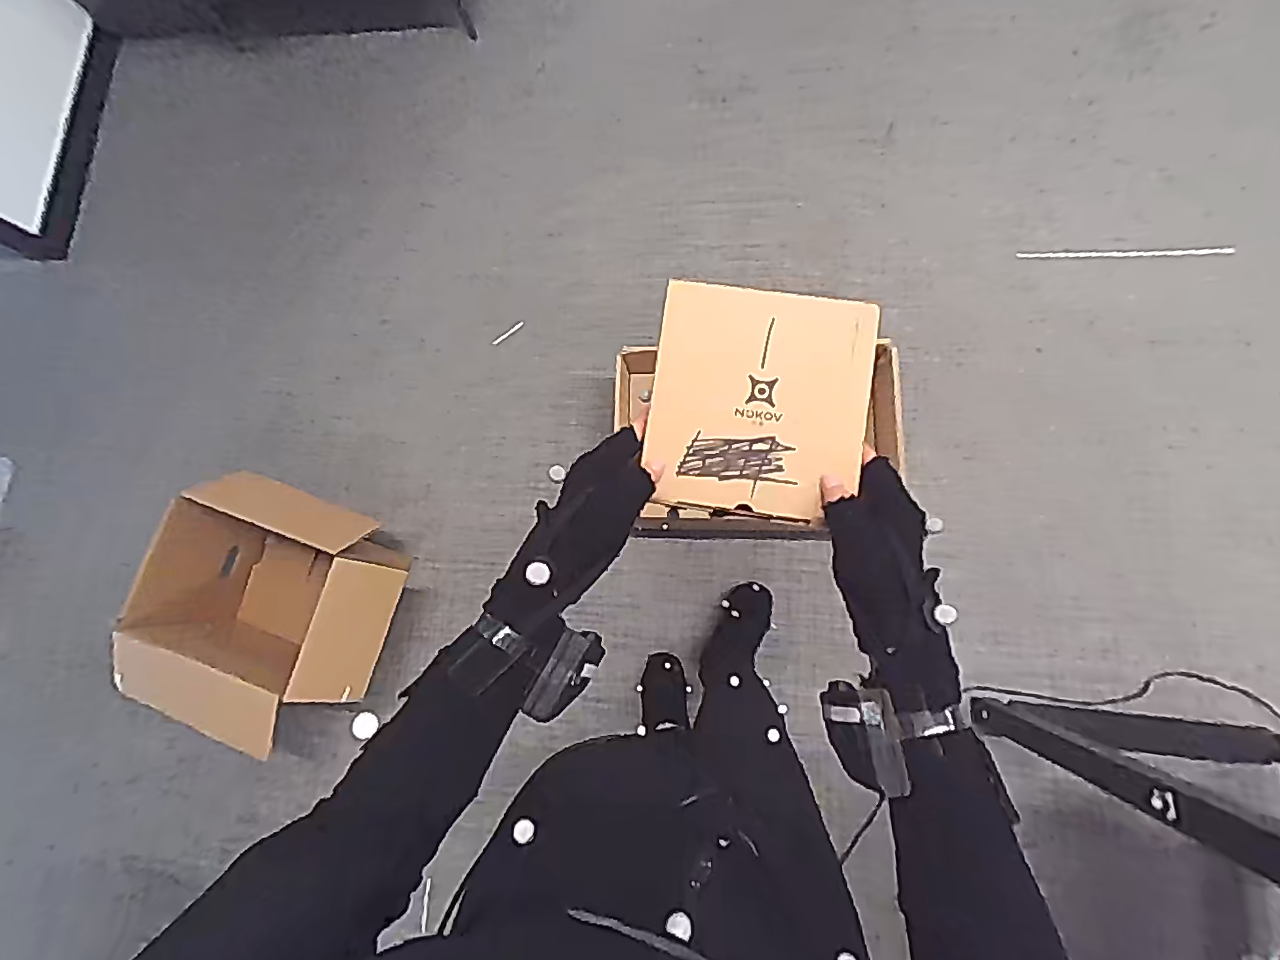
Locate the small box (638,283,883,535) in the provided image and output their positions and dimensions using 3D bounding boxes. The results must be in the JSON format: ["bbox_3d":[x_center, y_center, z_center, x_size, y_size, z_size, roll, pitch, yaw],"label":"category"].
[{"bbox_3d":[0.096,-0.051,0.491,0.168,0.176,0.179,9,86,3],"label":"small box"}]
